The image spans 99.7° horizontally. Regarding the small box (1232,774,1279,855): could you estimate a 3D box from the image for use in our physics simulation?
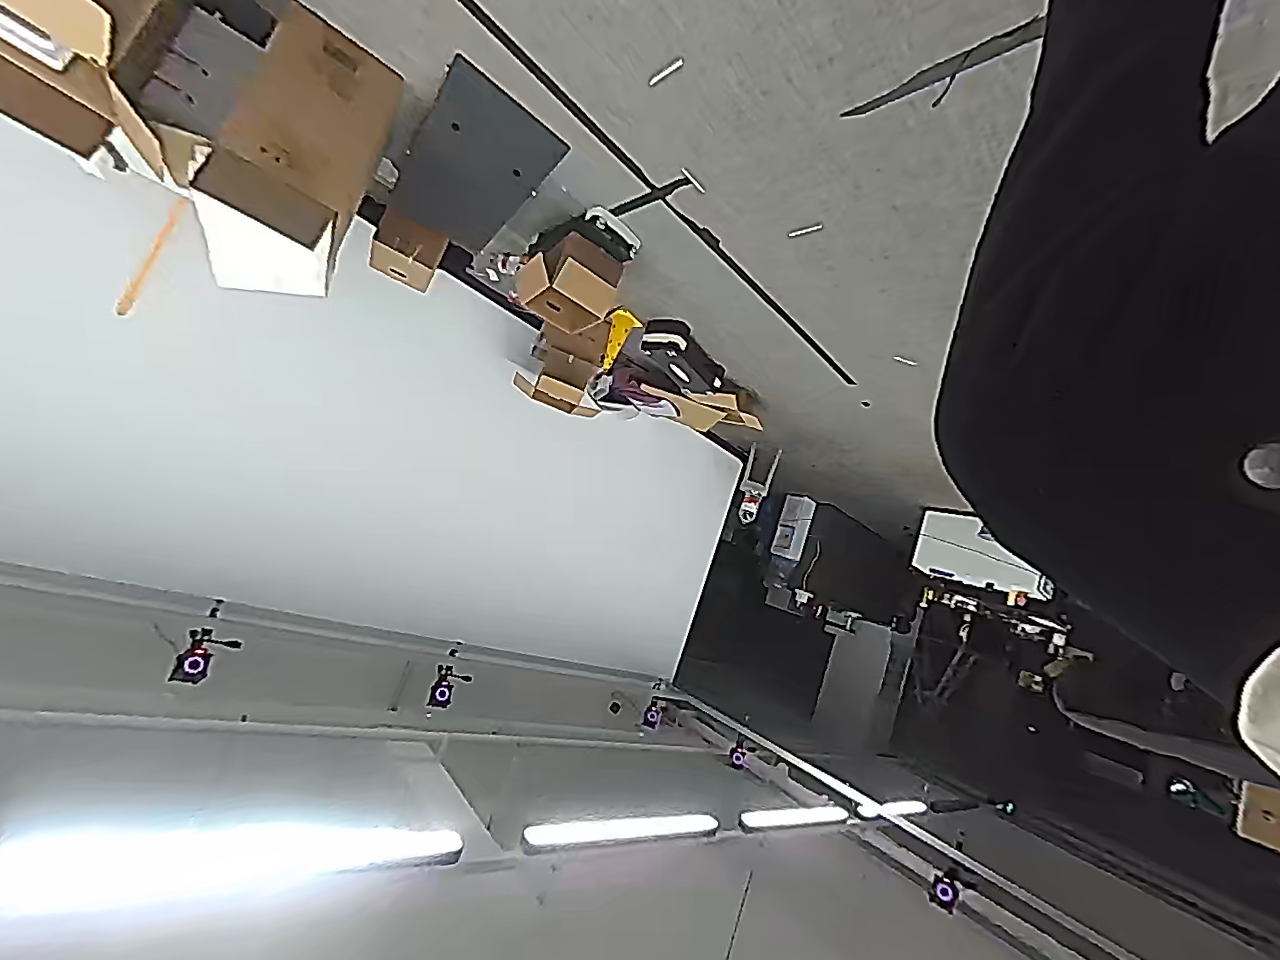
[{"bbox_3d":[1.705,0.897,1.421,0.168,0.176,0.179,26,170,-41],"label":"small box"}]
